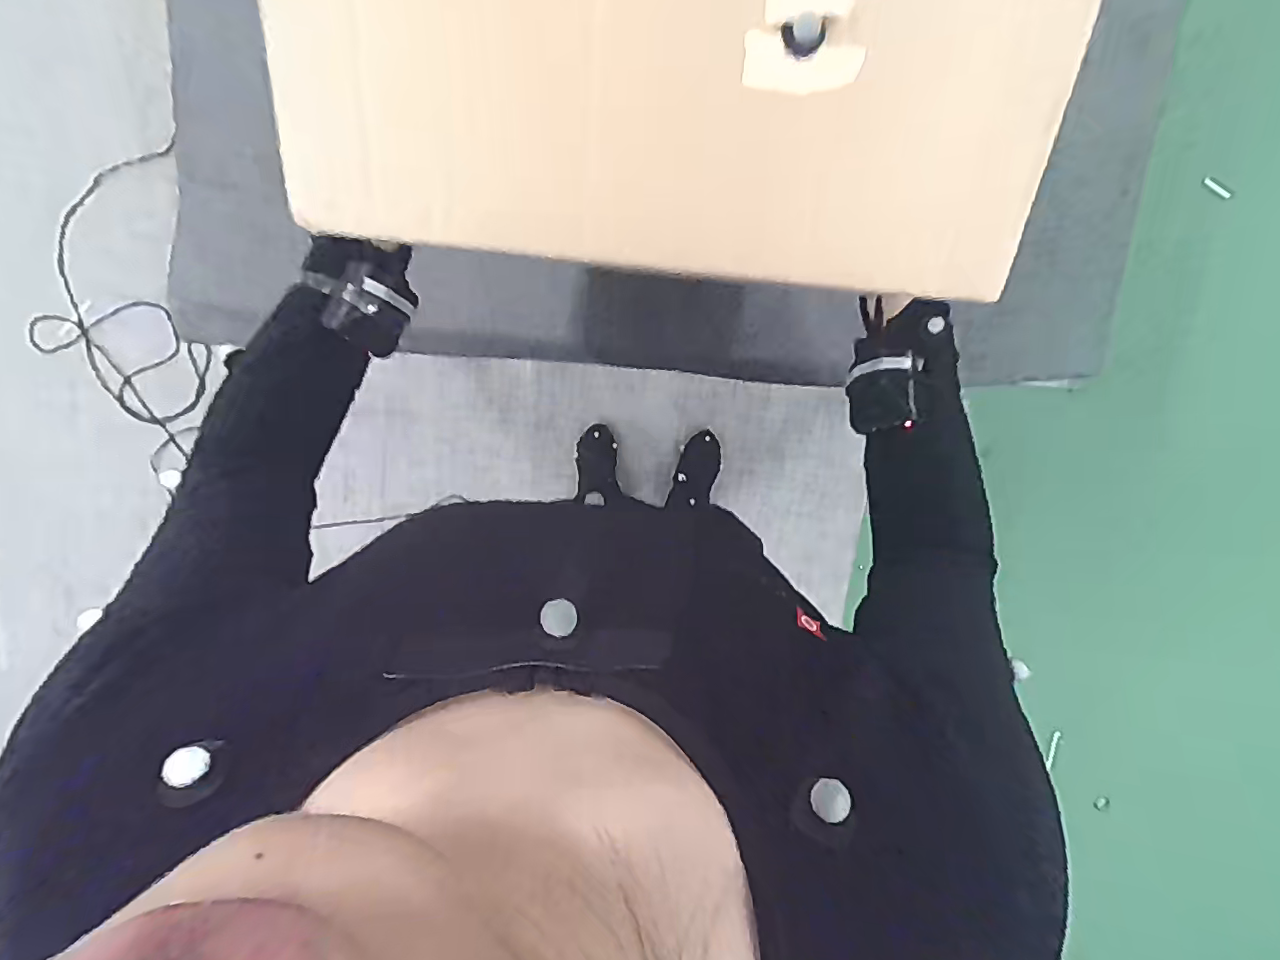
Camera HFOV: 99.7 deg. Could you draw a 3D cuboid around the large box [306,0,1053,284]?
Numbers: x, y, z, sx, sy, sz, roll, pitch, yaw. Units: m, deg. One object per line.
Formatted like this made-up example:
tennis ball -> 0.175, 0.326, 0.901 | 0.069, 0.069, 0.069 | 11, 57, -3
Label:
large box -> 0.023, -0.330, 0.420 | 0.408, 0.320, 0.320 | 5, 111, -1
